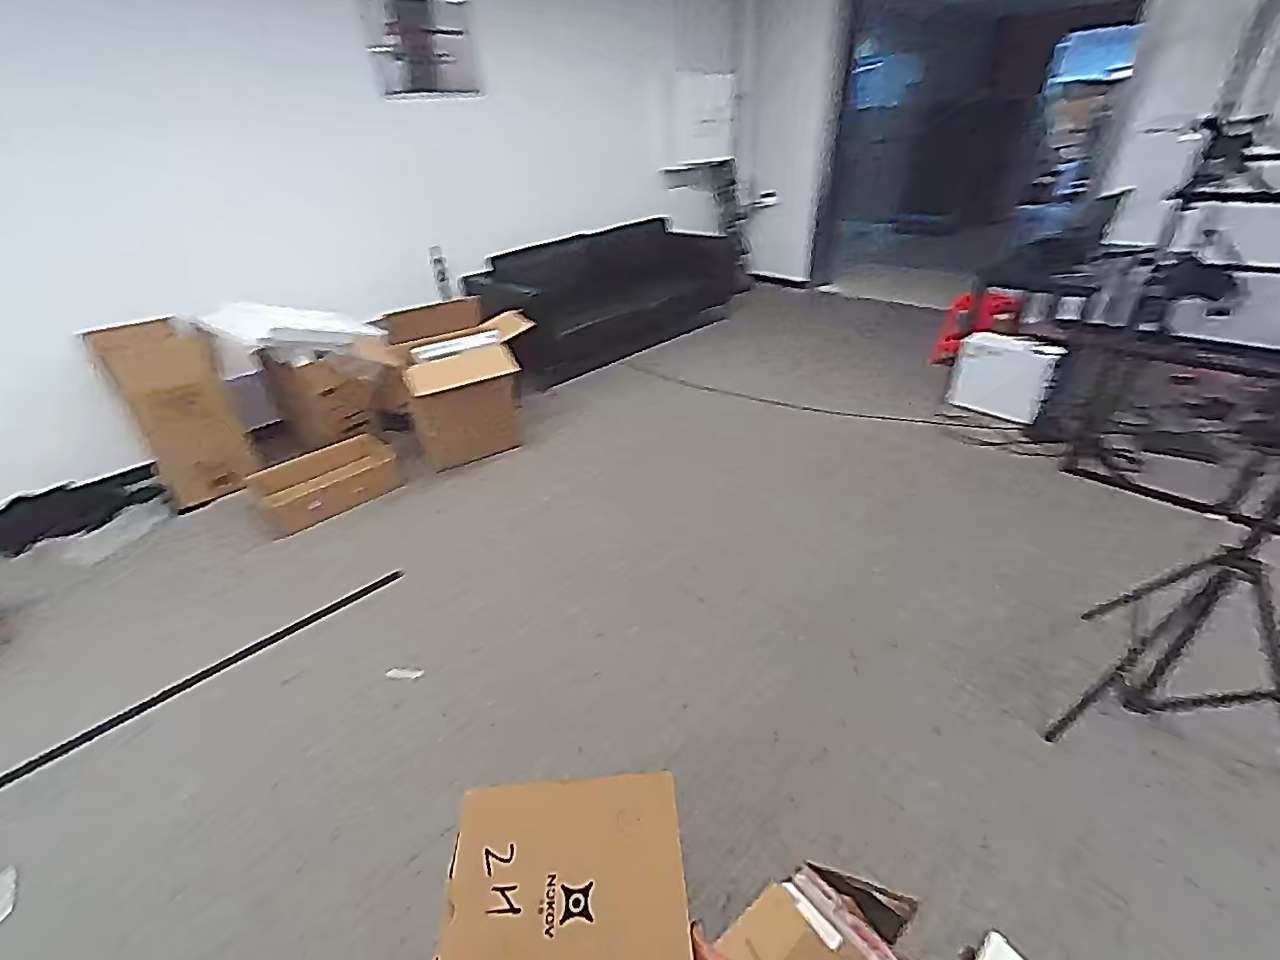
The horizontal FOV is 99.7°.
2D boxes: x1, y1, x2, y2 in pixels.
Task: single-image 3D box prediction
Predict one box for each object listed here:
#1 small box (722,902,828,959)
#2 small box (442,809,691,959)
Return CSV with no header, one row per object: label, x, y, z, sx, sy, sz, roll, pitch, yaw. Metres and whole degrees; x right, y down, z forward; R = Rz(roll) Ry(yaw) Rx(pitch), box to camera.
small box,0.187,0.718,0.703,0.168,0.176,0.179,-26,38,-26
small box,-0.050,0.390,0.432,0.179,0.176,0.168,-5,38,-2
